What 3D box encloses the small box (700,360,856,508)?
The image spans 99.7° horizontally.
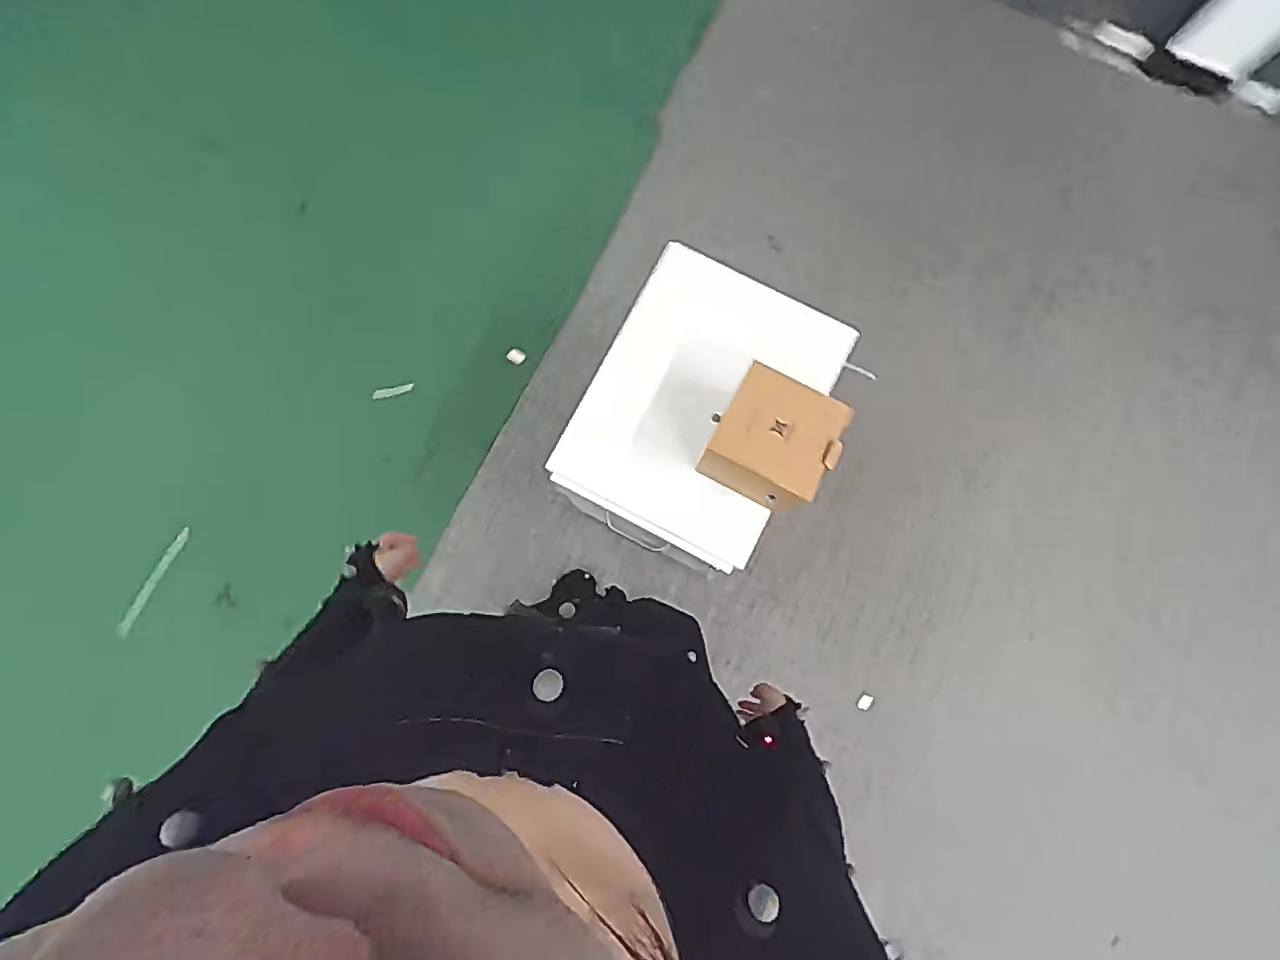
[{"bbox_3d":[0.217,-0.065,0.895,0.179,0.176,0.168,28,80,5],"label":"small box"}]
